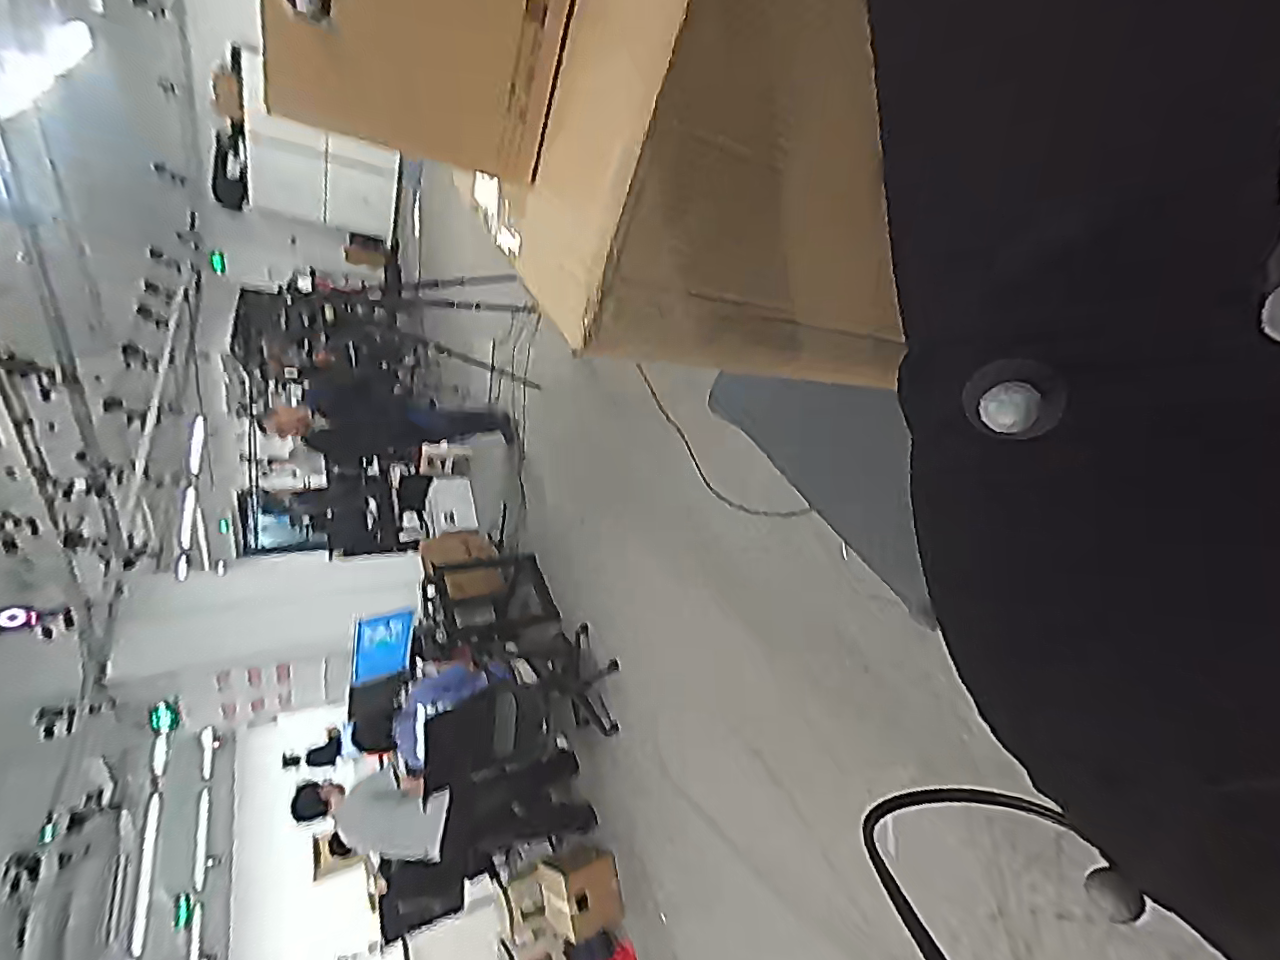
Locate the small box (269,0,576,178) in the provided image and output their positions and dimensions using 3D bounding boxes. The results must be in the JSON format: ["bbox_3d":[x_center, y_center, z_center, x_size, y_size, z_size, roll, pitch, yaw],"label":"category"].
[{"bbox_3d":[-0.154,-0.338,0.378,0.179,0.176,0.168,59,139,39],"label":"small box"}]
